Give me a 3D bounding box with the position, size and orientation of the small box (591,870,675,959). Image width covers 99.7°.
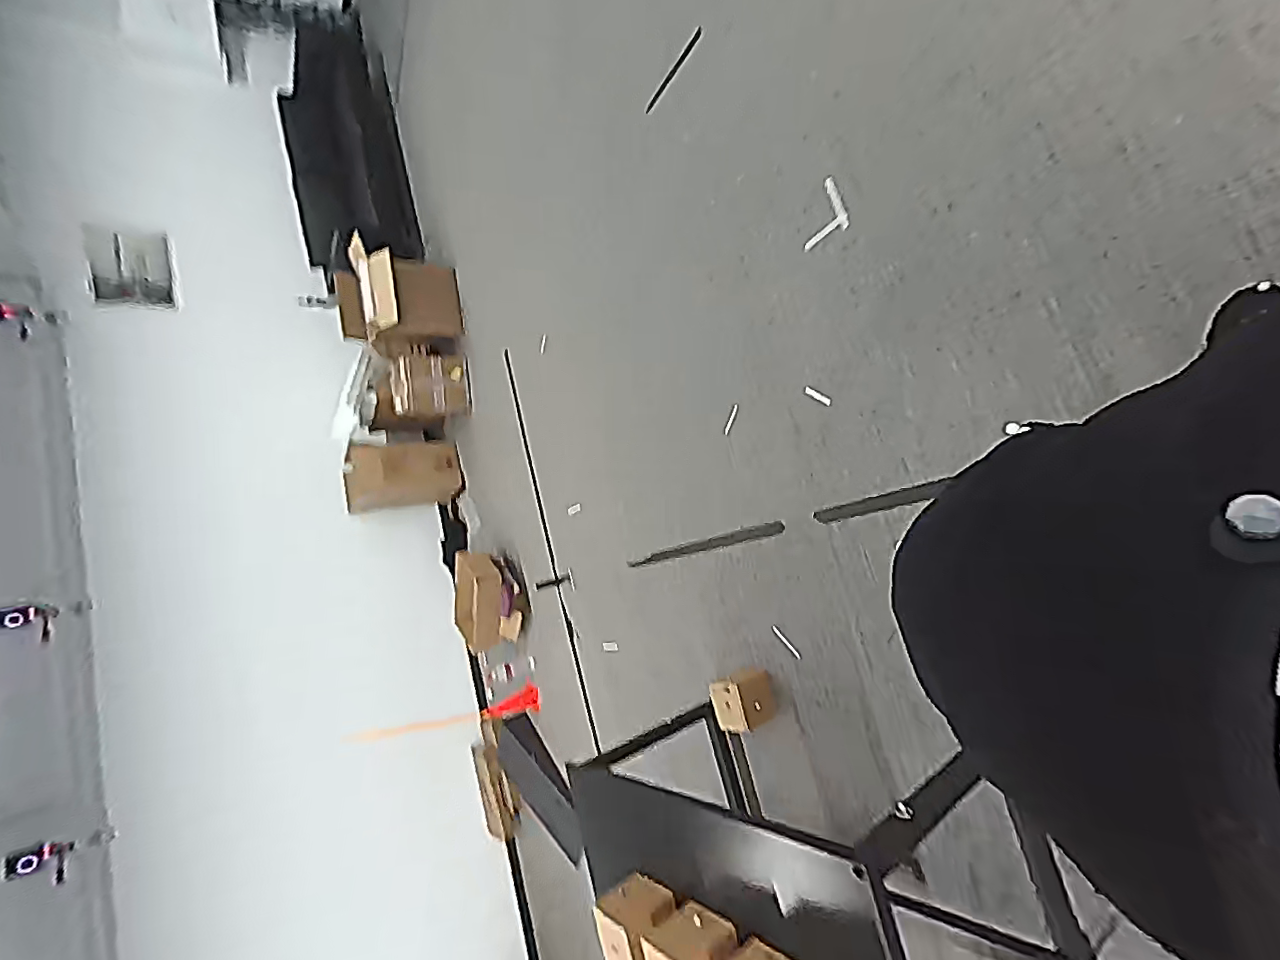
[{"bbox_3d":[-0.008,1.215,1.481,0.179,0.176,0.168,-26,77,52],"label":"small box"}]

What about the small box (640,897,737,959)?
[{"bbox_3d":[0.127,1.151,1.282,0.168,0.176,0.179,-27,73,53],"label":"small box"}]

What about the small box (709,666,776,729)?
[{"bbox_3d":[0.400,0.836,2.091,0.168,0.176,0.179,-26,76,52],"label":"small box"}]

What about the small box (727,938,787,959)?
[{"bbox_3d":[0.252,1.100,1.103,0.168,0.176,0.179,-20,80,54],"label":"small box"}]
